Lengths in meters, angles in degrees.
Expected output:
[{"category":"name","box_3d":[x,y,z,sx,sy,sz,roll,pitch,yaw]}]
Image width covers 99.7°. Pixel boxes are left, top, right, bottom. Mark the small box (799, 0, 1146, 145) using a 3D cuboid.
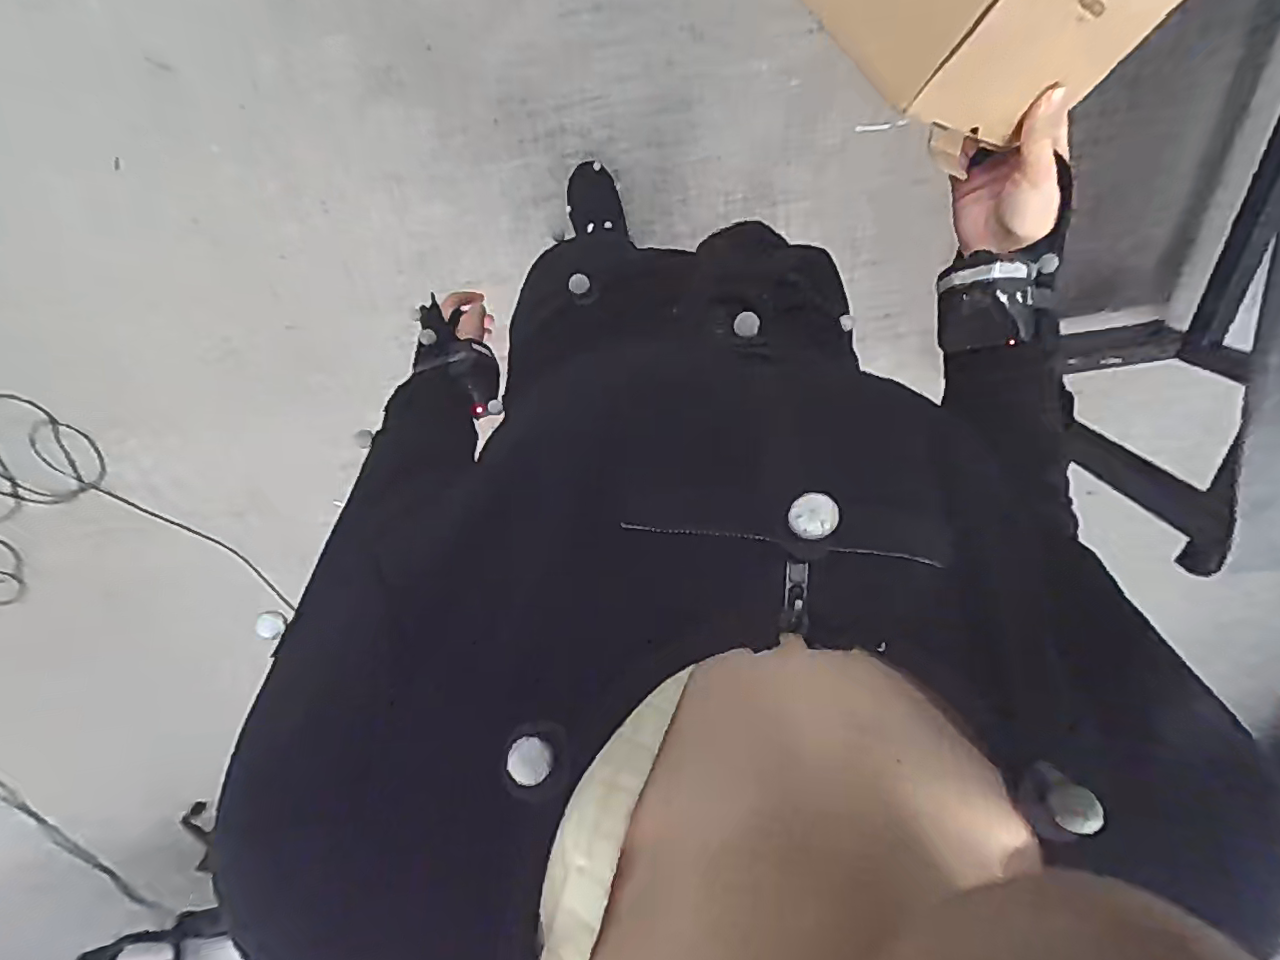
[{"category":"small box","box_3d":[0.203,-0.343,0.315,0.168,0.176,0.179,-14,158,-34]}]
